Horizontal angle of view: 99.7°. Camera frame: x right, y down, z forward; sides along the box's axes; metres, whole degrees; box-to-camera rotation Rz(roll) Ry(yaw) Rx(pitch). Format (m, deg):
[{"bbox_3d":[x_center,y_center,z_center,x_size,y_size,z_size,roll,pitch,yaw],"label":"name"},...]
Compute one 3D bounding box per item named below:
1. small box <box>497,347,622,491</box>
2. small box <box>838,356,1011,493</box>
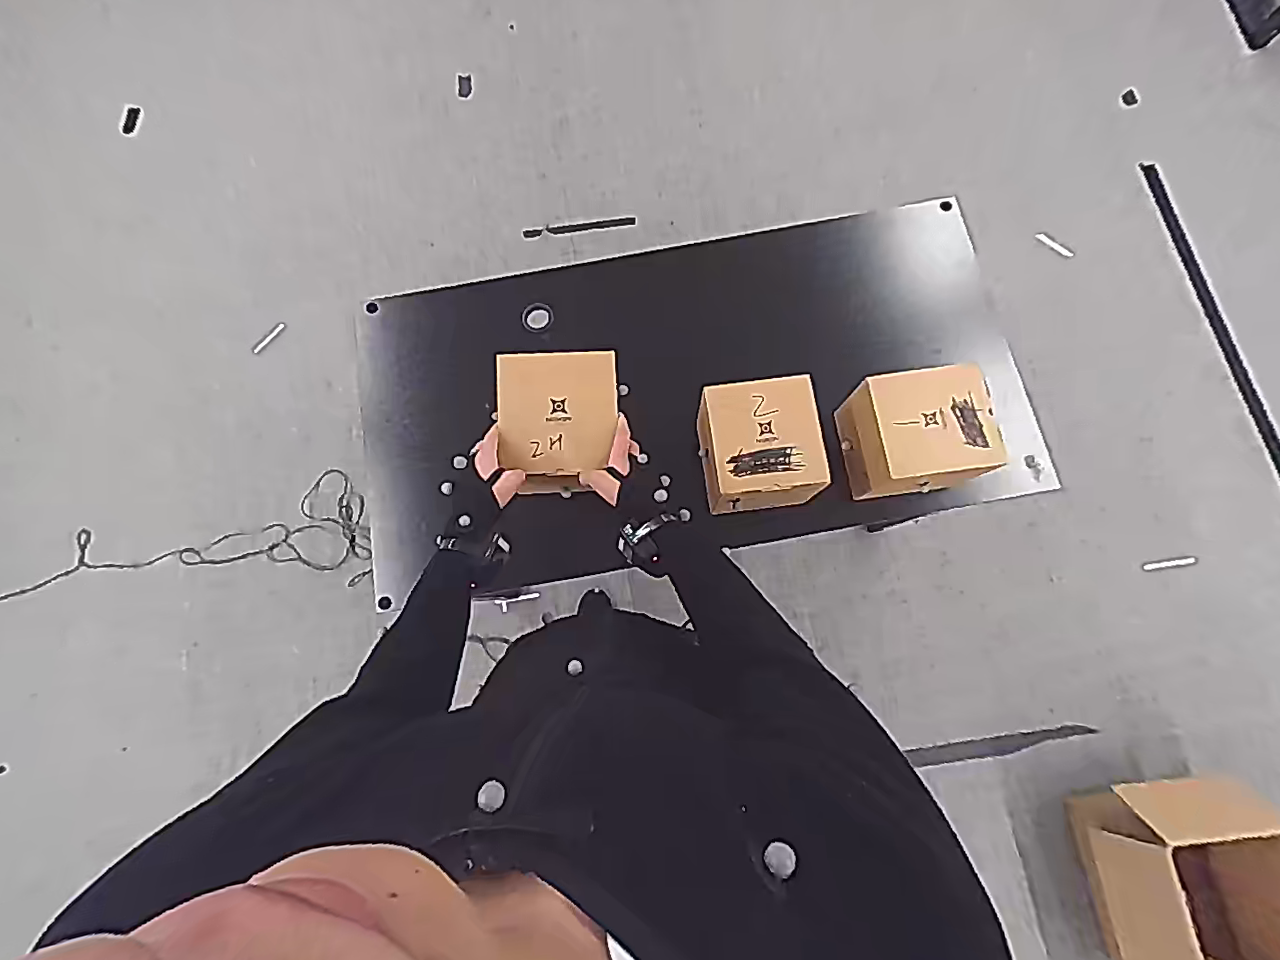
[{"bbox_3d":[-0.115,-0.084,0.810,0.168,0.176,0.179,-3,82,-3],"label":"small box"},{"bbox_3d":[0.445,-0.082,0.875,0.179,0.176,0.168,-9,77,2],"label":"small box"}]
